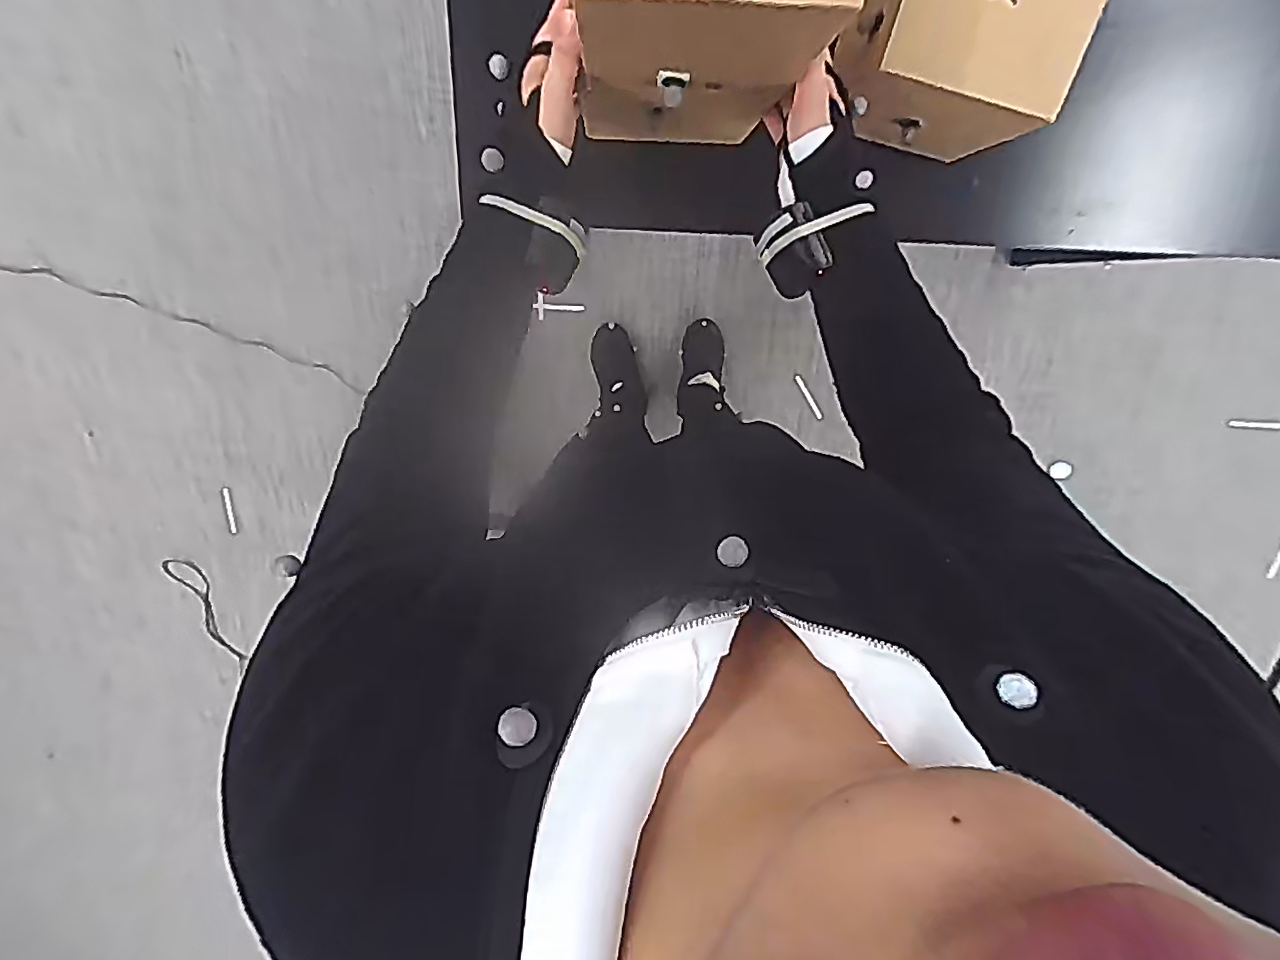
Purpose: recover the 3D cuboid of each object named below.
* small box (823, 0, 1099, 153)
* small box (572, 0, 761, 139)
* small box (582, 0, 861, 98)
[{"bbox_3d":[0.294,-0.437,0.509,0.168,0.176,0.179,12,108,-6],"label":"small box"},{"bbox_3d":[0.033,-0.434,0.503,0.179,0.176,0.168,1,110,-2],"label":"small box"},{"bbox_3d":[0.045,-0.379,0.349,0.168,0.176,0.179,1,111,-2],"label":"small box"}]
